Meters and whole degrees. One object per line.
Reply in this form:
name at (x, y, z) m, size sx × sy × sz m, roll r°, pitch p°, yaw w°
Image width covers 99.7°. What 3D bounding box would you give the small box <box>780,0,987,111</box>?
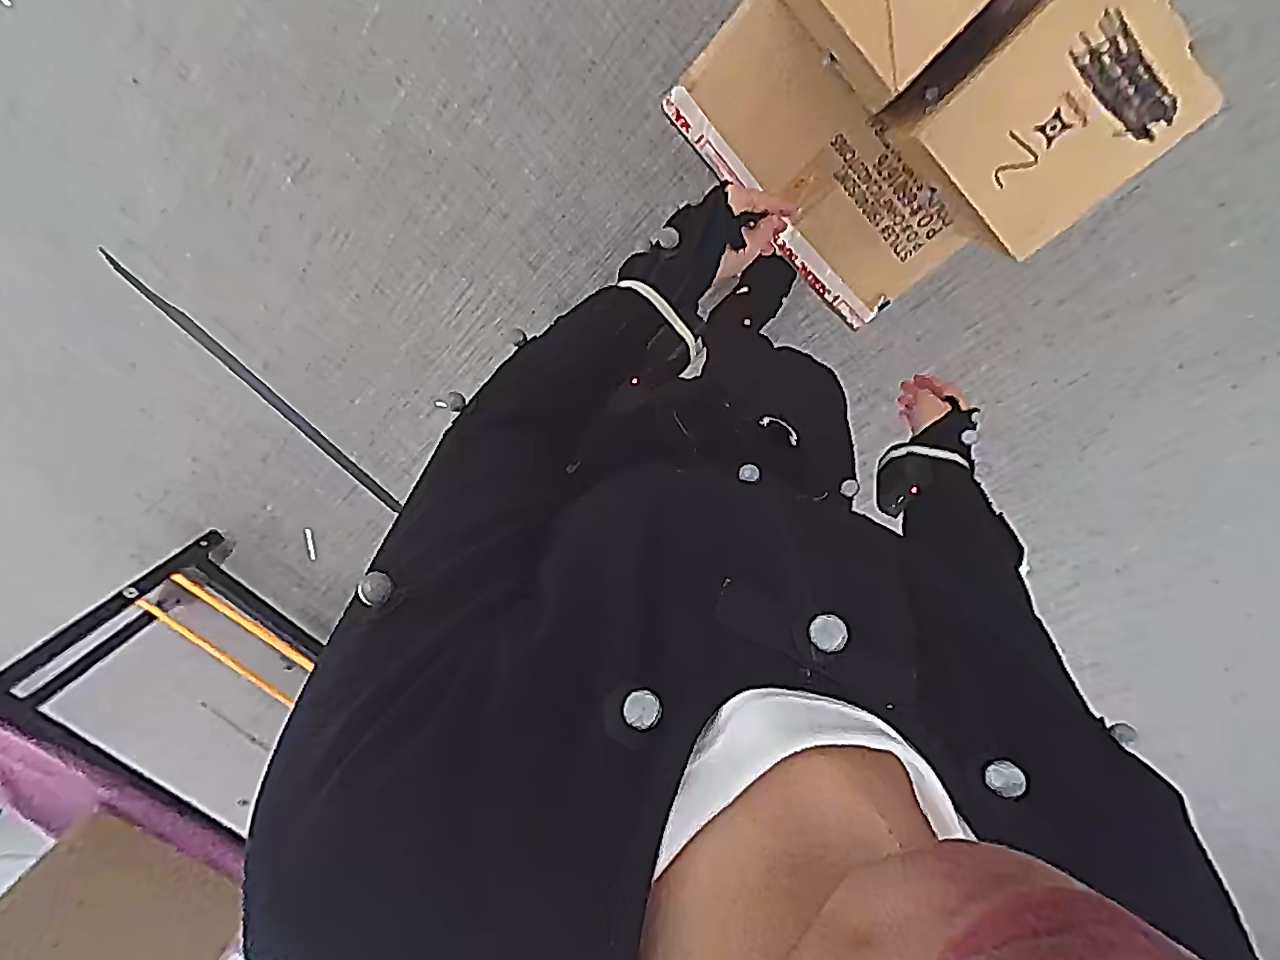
small box at (0.241, -0.489, 0.502) m, size 0.179 × 0.176 × 0.168 m, roll 44°, pitch 120°, yaw -11°
